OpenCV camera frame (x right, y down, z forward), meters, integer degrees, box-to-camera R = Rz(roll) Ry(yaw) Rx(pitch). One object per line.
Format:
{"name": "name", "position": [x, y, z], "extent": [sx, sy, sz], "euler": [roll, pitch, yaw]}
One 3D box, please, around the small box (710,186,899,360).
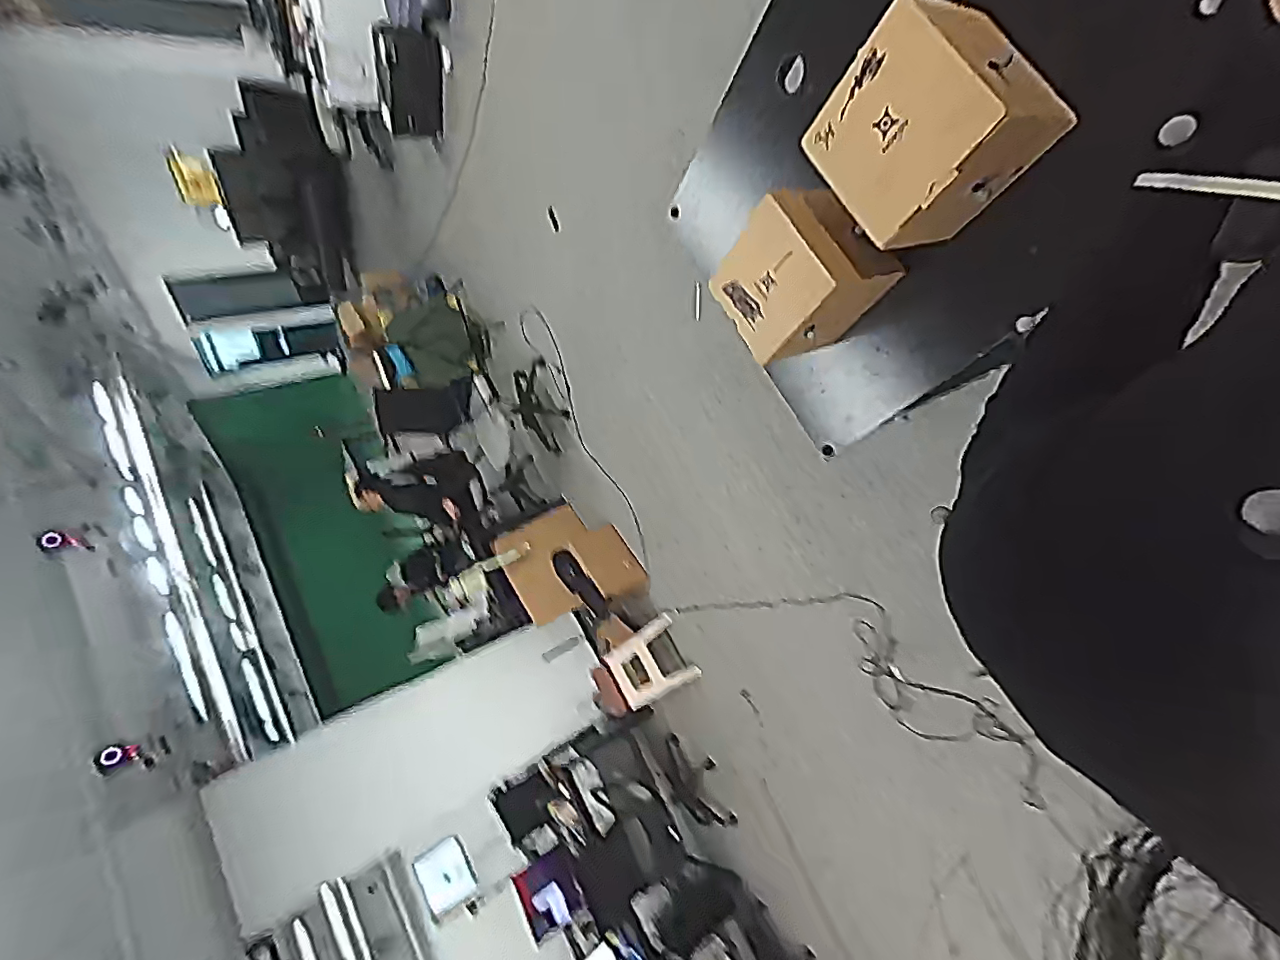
{"name": "small box", "position": [0.244, -0.311, 0.814], "extent": [0.168, 0.176, 0.179], "euler": [60, 147, 13]}

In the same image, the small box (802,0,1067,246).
{"name": "small box", "position": [0.333, -0.405, 0.621], "extent": [0.179, 0.176, 0.168], "euler": [60, 148, 12]}
